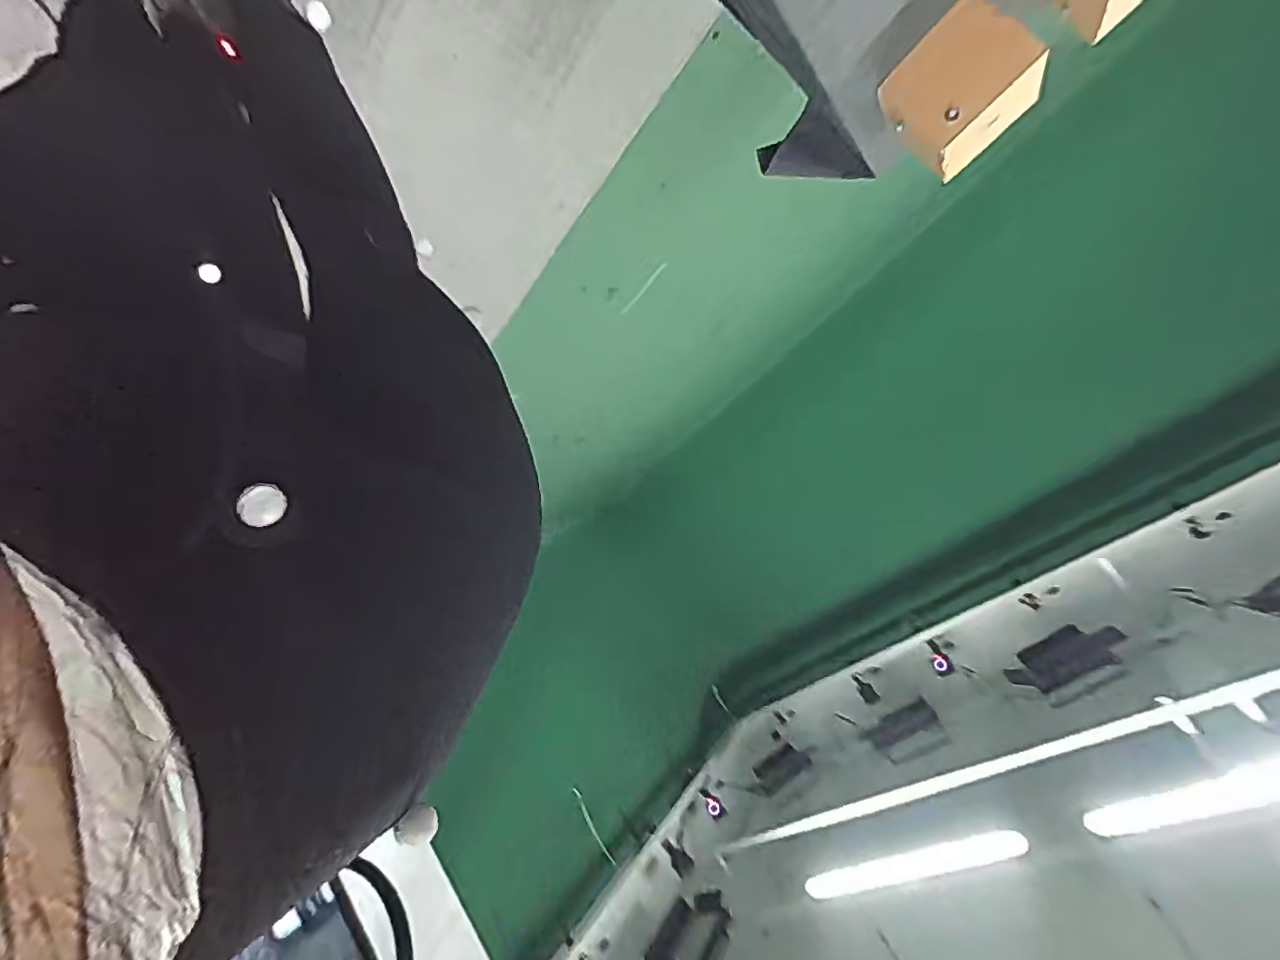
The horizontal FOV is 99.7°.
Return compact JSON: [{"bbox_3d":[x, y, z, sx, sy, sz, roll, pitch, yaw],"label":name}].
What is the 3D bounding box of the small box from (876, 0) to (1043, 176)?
[{"bbox_3d":[0.544,-0.683,0.937,0.179,0.176,0.168,-42,166,28],"label":"small box"}]
